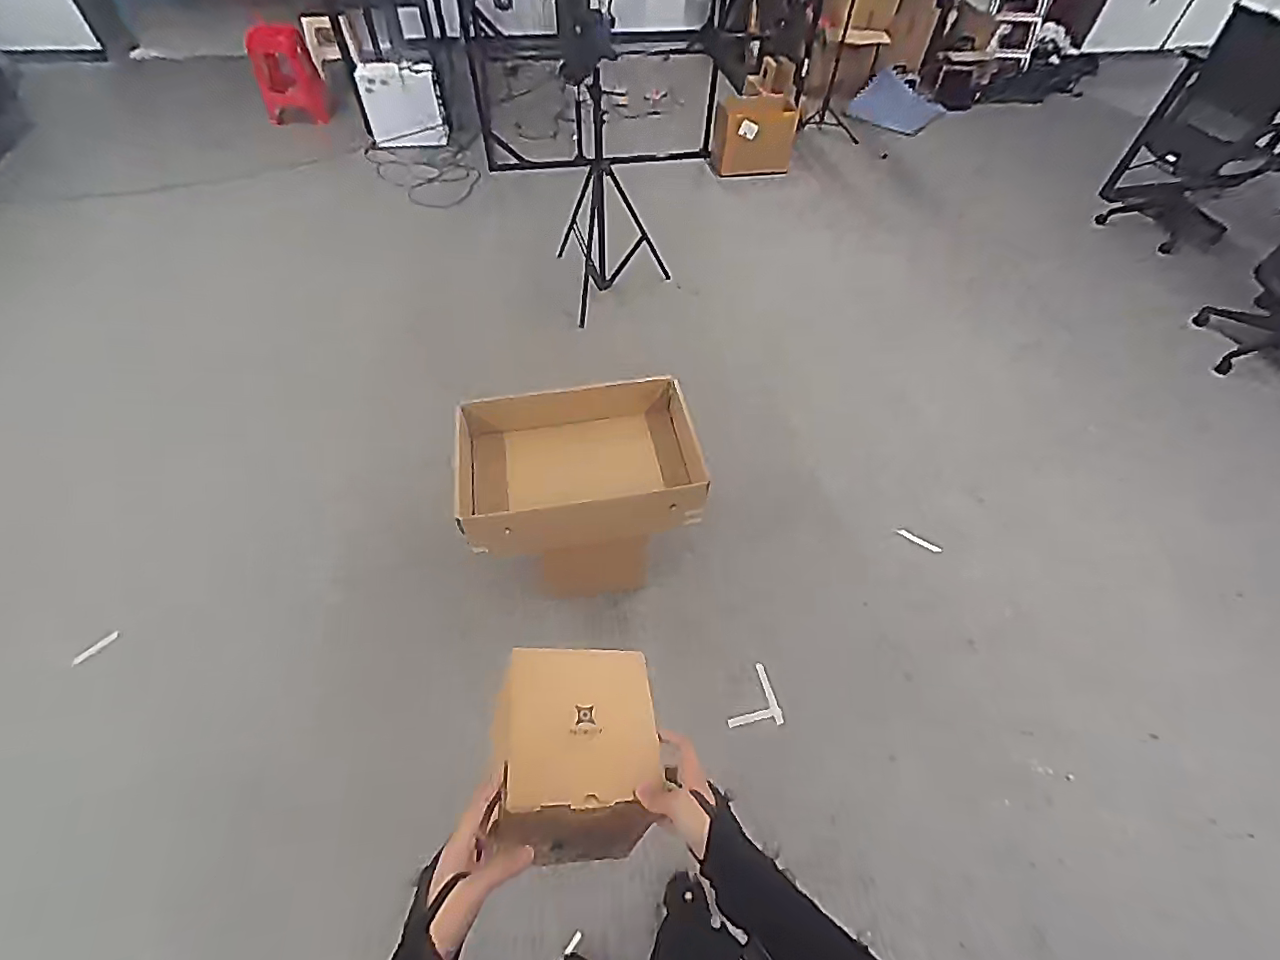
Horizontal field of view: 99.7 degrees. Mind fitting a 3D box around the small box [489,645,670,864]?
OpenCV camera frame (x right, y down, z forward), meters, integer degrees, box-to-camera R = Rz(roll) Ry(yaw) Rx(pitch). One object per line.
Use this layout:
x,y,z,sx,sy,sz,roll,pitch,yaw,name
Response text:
-0.082,0.319,0.639,0.168,0.176,0.179,7,39,-18,small box
